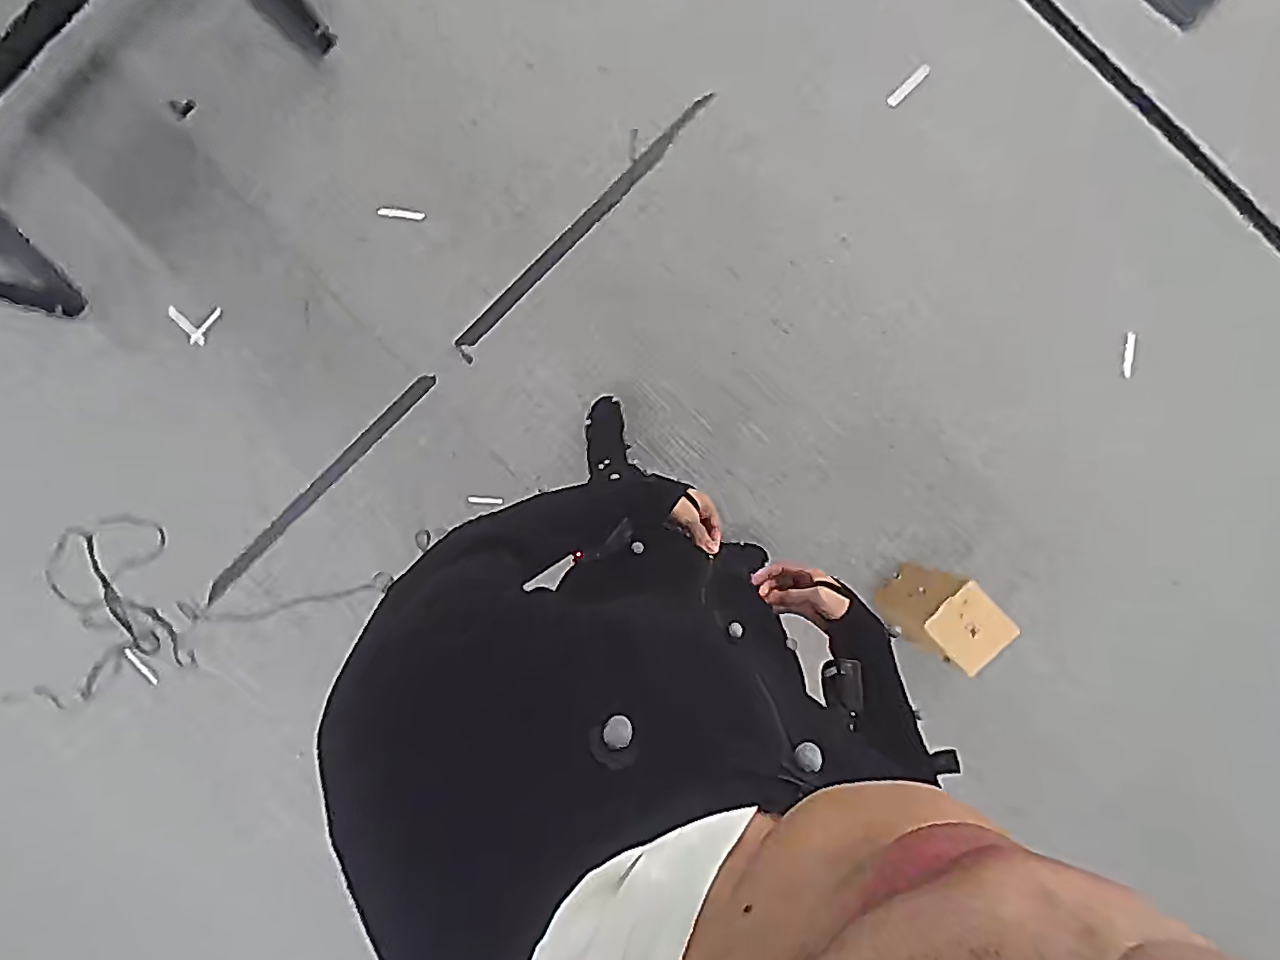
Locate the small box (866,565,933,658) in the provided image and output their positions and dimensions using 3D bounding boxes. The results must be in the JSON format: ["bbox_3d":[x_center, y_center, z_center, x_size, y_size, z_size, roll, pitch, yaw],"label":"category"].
[{"bbox_3d":[0.785,0.364,1.532,0.168,0.176,0.179,-42,90,0],"label":"small box"}]

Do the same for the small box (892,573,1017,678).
[{"bbox_3d":[0.784,0.357,1.368,0.168,0.176,0.179,-43,89,0],"label":"small box"}]
